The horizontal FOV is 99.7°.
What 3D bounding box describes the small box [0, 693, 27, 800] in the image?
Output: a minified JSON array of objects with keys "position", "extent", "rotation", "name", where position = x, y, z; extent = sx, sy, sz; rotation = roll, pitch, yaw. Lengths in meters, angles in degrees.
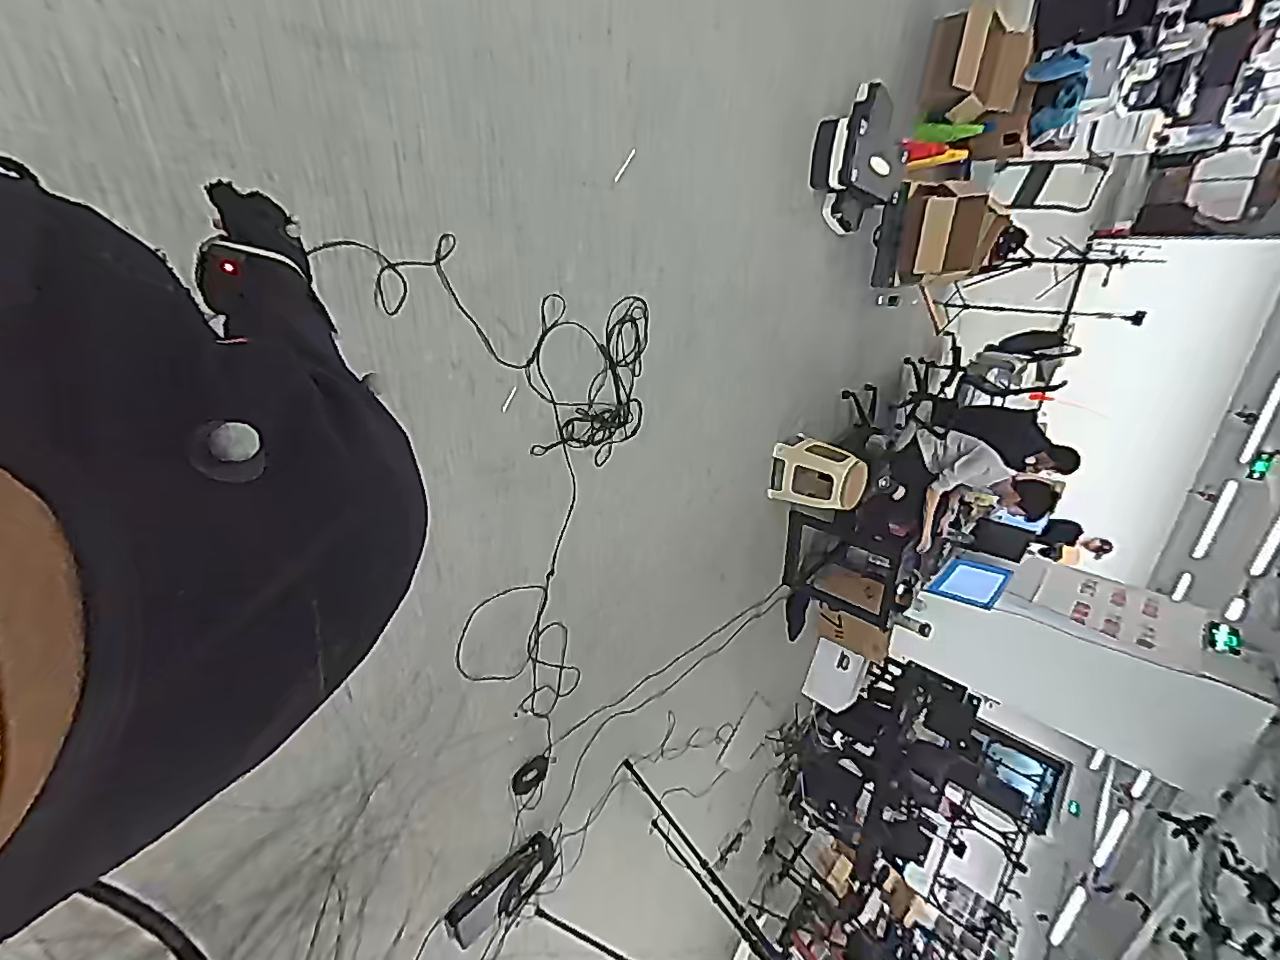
[{"position":[-1.277,0.505,0.990],"extent":[0.168,0.176,0.179],"rotation":[-22,121,-41],"name":"small box"}]
